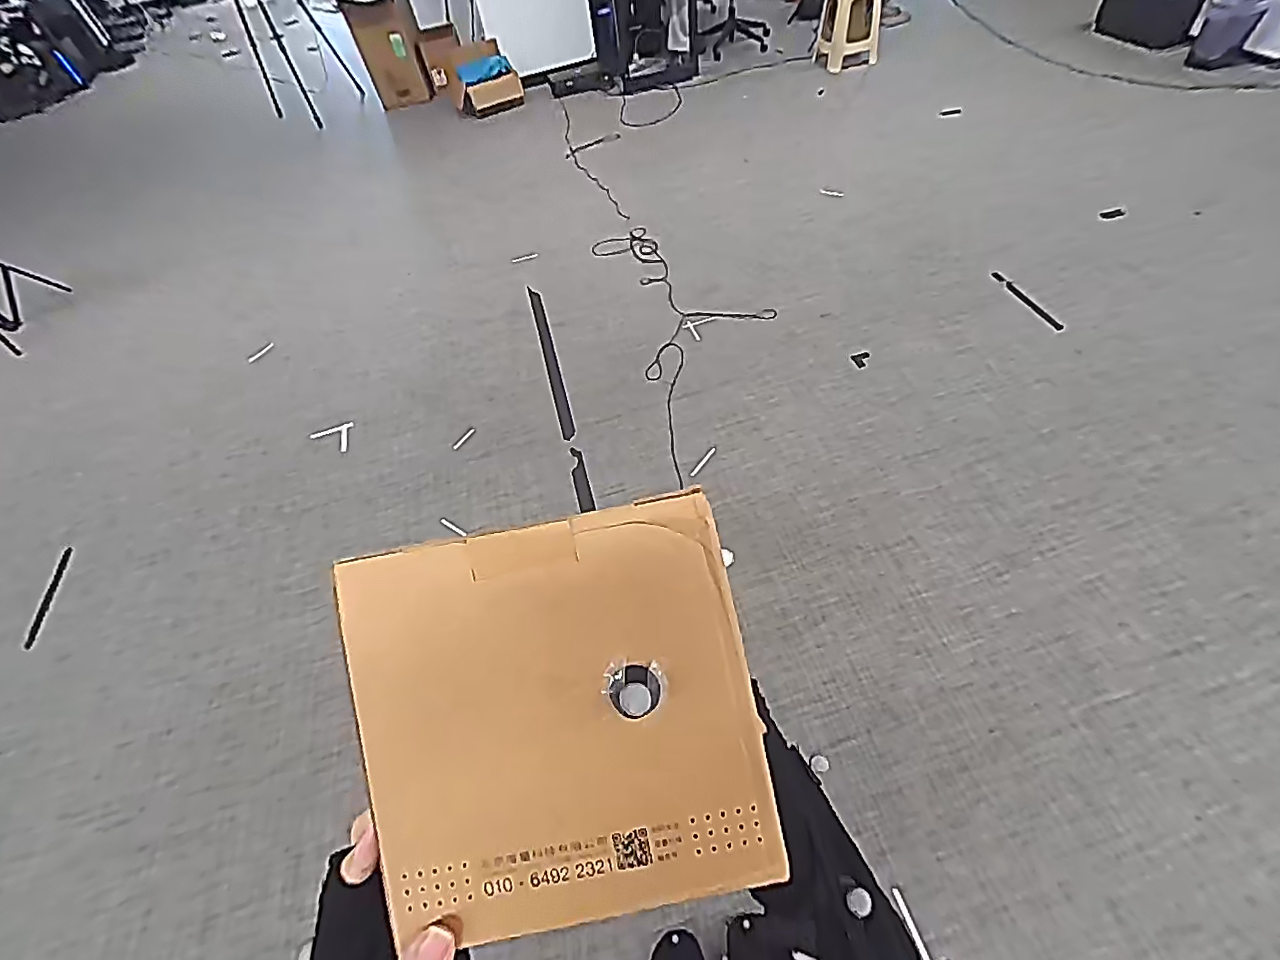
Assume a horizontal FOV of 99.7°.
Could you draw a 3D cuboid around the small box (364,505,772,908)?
[{"bbox_3d":[-0.030,0.116,0.326,0.168,0.179,0.176,-11,87,1],"label":"small box"}]
